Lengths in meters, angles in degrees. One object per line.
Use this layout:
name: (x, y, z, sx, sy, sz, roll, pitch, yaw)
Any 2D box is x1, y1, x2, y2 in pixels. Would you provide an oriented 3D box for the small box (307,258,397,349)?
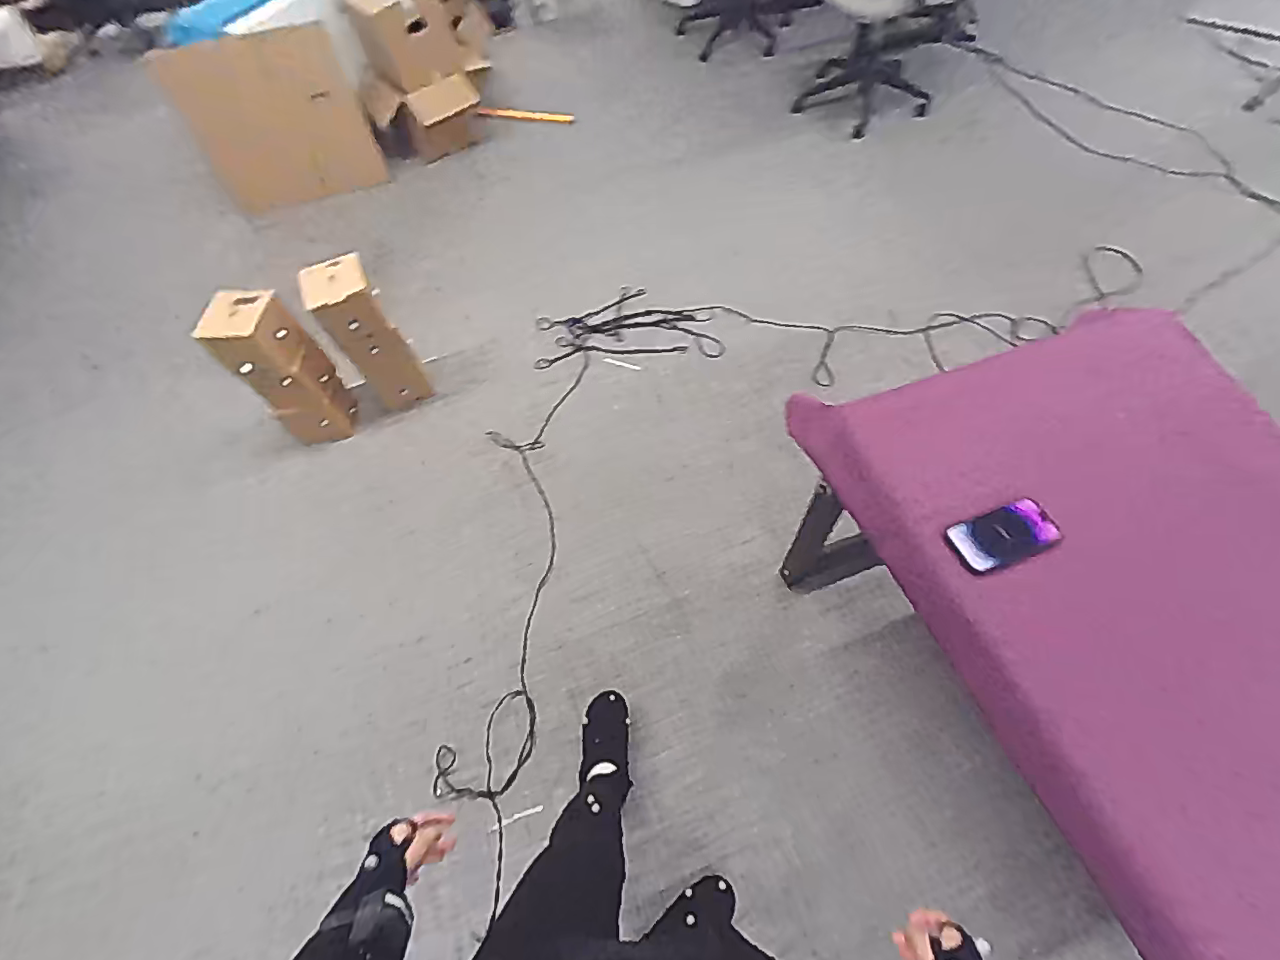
small box: (-0.840, -0.509, 1.587, 0.168, 0.176, 0.179, -23, 62, -9)

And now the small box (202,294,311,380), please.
small box: (-1.083, -0.407, 1.547, 0.168, 0.176, 0.179, 0, 60, 4)

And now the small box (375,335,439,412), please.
small box: (-0.822, -0.361, 1.877, 0.168, 0.176, 0.179, -26, 61, -11)

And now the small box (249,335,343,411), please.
small box: (-1.073, -0.330, 1.692, 0.179, 0.176, 0.168, -4, 58, 1)

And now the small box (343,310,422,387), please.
small box: (-0.834, -0.430, 1.730, 0.179, 0.176, 0.168, -30, 63, -12)
